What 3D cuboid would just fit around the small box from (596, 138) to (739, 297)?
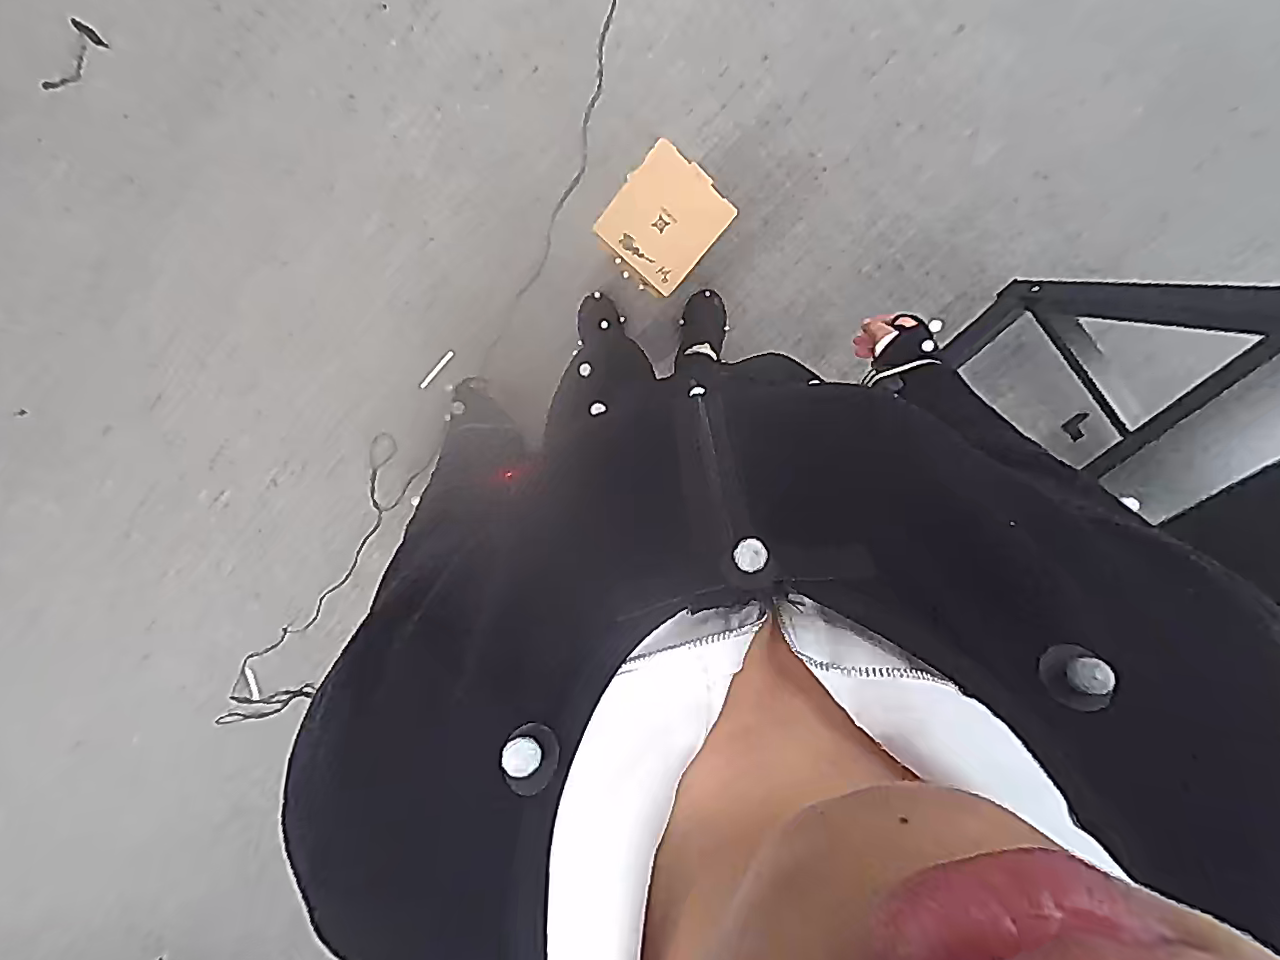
[{"bbox_3d":[0.043,-0.444,0.943,0.168,0.176,0.179,40,105,-12],"label":"small box"}]
